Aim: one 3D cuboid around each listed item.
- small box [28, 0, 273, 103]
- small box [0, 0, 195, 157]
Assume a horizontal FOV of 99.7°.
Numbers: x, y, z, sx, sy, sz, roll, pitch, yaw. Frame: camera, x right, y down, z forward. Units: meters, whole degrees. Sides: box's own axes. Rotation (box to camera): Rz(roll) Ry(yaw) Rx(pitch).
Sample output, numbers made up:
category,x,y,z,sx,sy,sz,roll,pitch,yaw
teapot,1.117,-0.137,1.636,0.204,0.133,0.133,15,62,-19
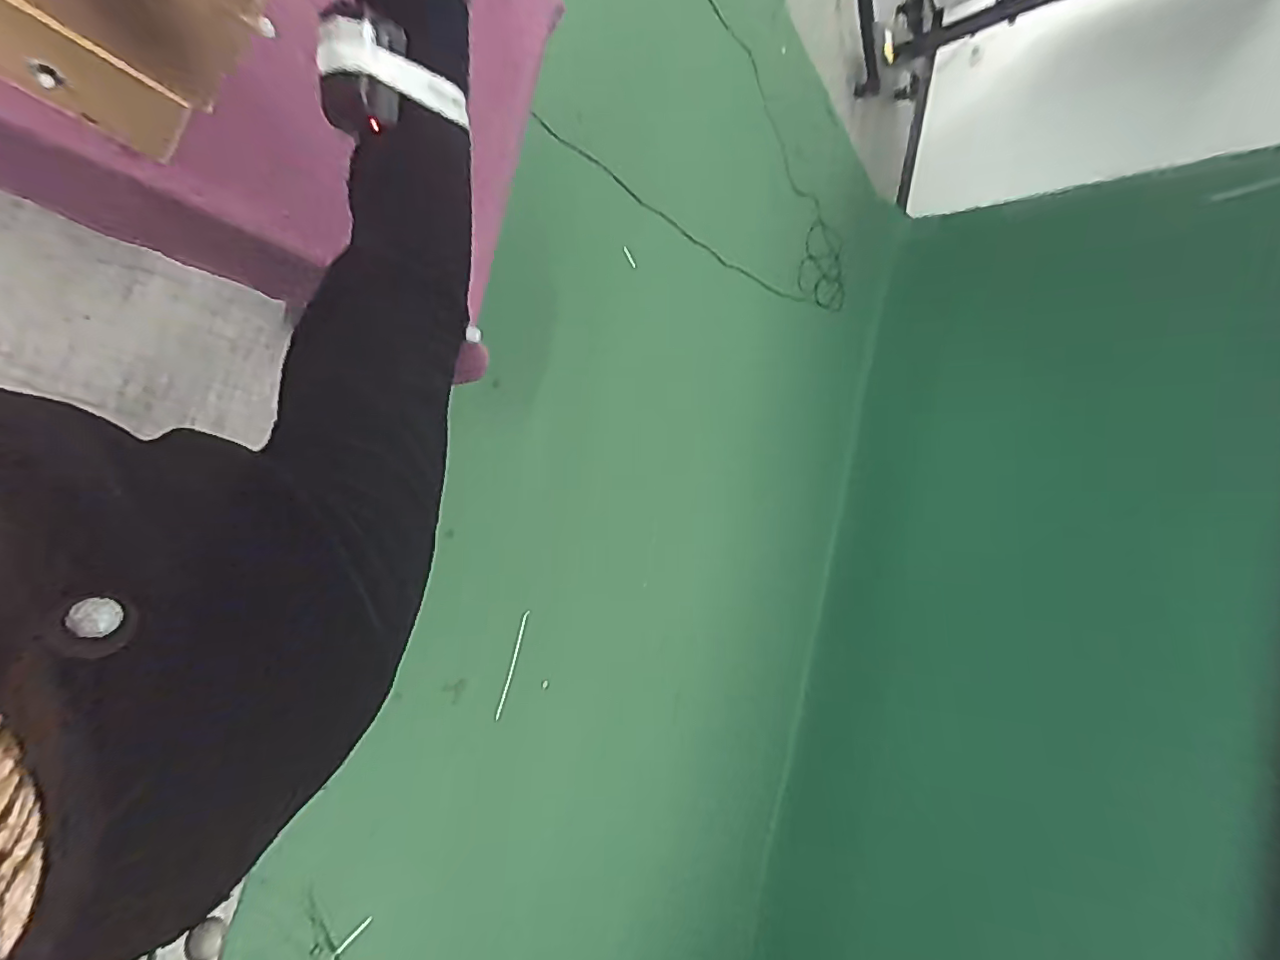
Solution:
category,x,y,z,sx,sy,sz,roll,pitch,yaw
small box,-0.368,-0.424,0.388,0.179,0.176,0.168,23,79,-48
small box,-0.495,-0.439,0.492,0.168,0.176,0.179,22,79,-47
